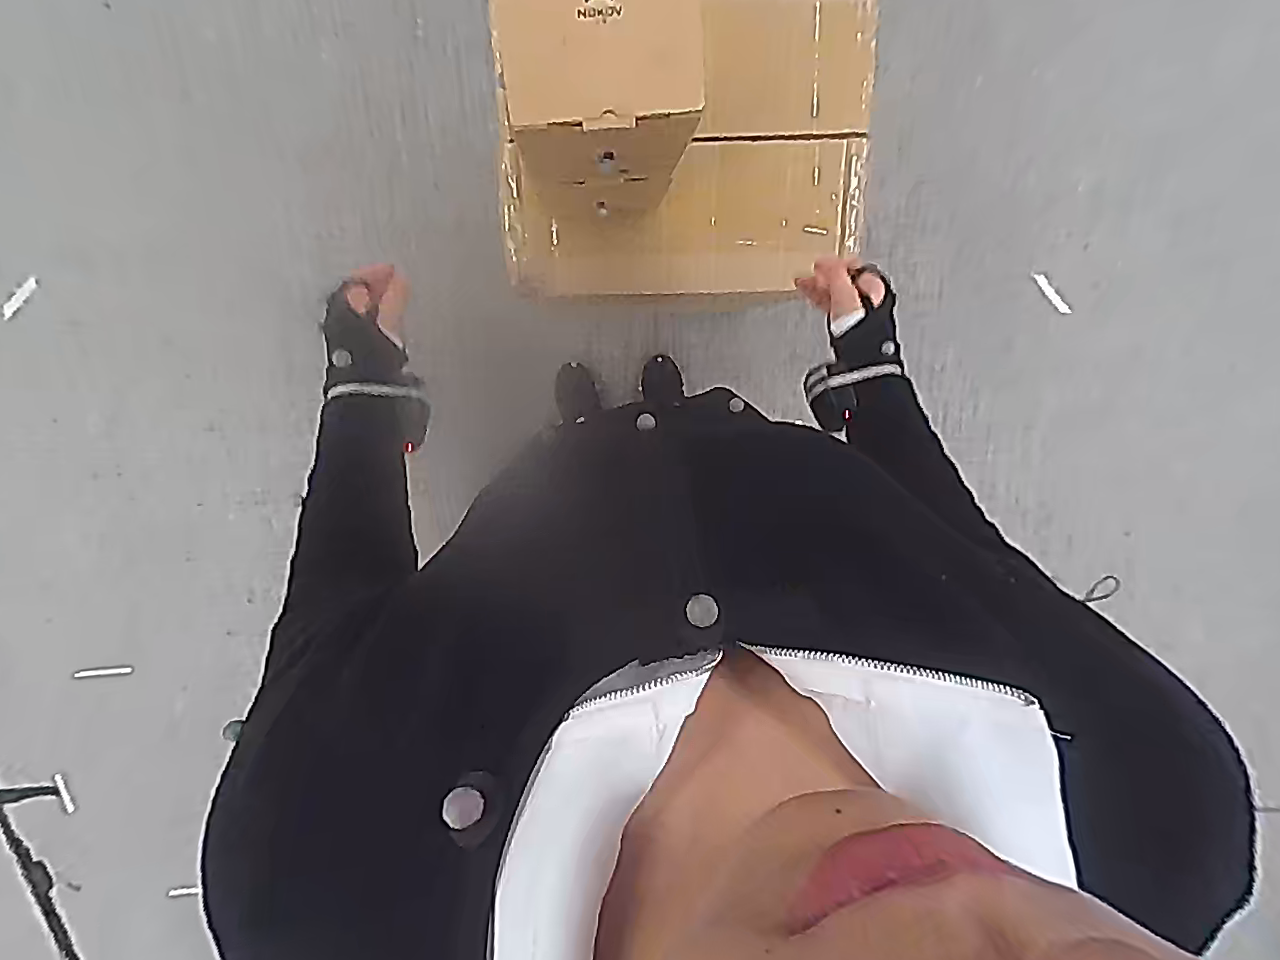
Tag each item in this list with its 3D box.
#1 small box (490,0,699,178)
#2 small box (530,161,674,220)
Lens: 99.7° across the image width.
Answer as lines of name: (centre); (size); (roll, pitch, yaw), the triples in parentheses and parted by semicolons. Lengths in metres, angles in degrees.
small box: (-0.043, -0.402, 0.512); (0.168, 0.176, 0.179); (-7, 105, -3)
small box: (-0.054, -0.440, 0.671); (0.168, 0.176, 0.179); (-5, 105, -3)
